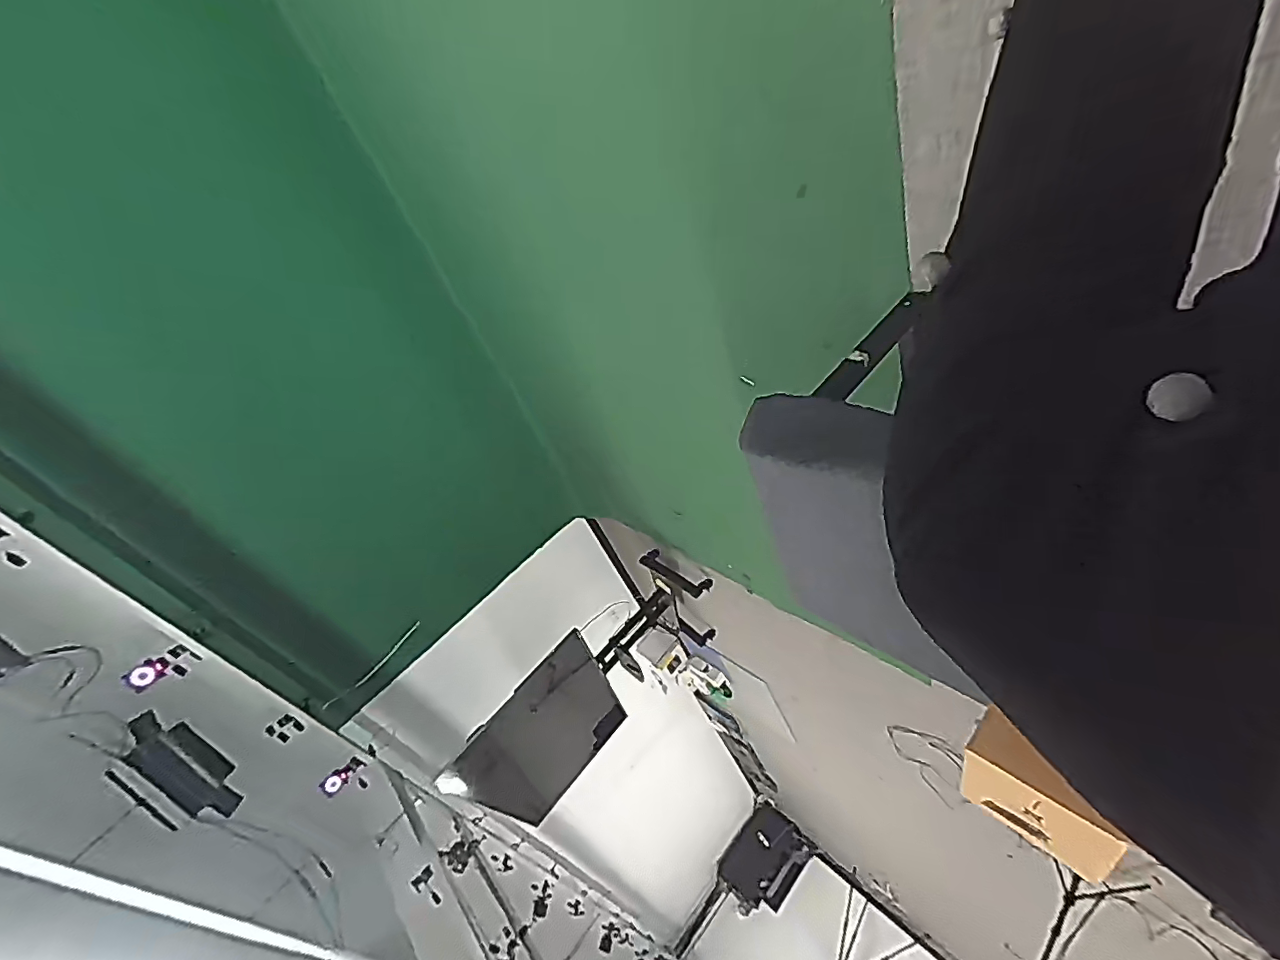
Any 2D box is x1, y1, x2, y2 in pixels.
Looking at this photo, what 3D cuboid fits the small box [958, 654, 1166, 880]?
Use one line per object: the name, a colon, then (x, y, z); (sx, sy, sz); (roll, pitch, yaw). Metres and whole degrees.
small box: (0.549, 0.370, 0.715); (0.168, 0.176, 0.179); (24, 151, 47)
